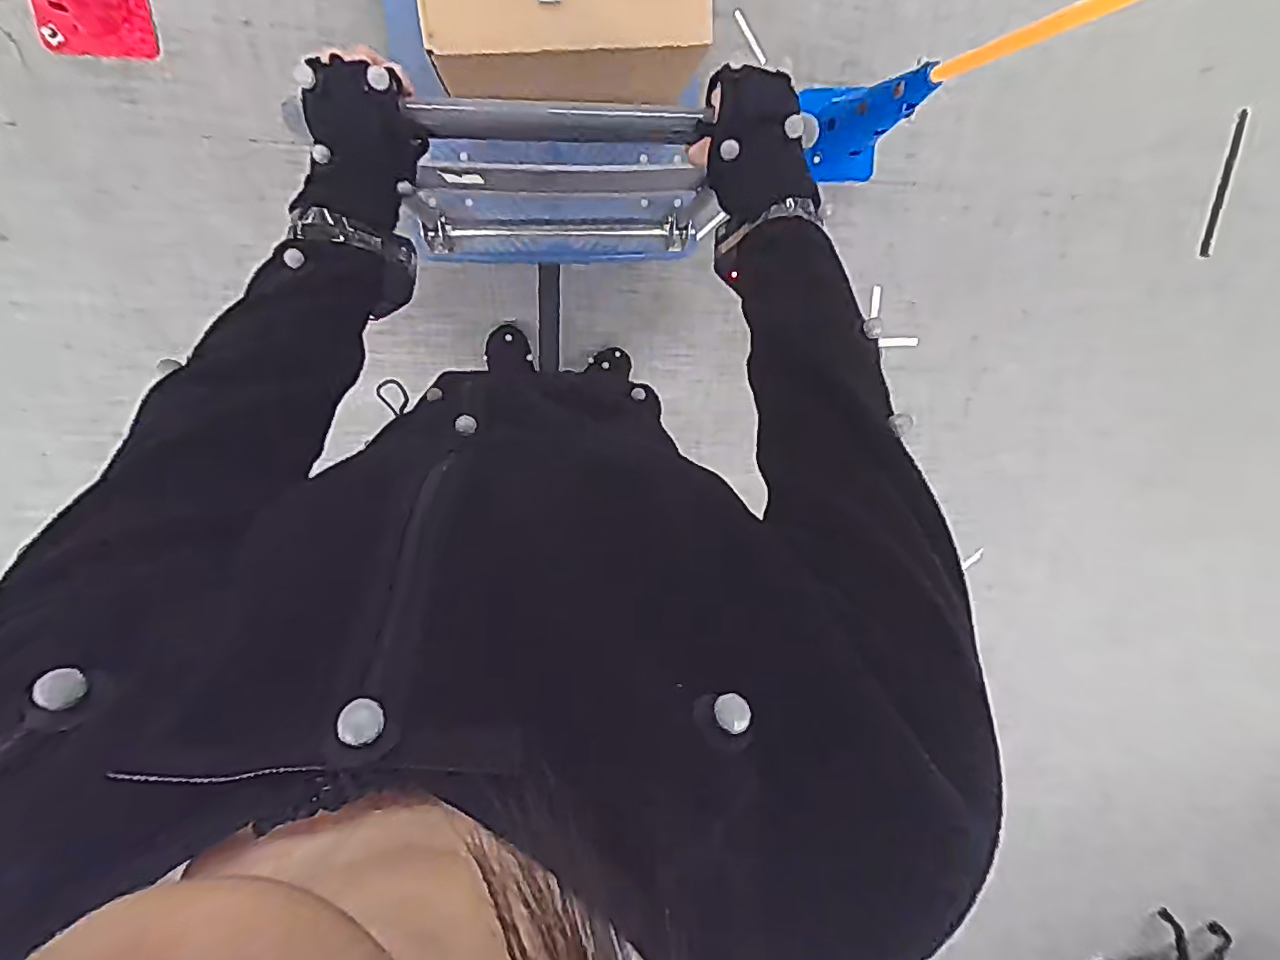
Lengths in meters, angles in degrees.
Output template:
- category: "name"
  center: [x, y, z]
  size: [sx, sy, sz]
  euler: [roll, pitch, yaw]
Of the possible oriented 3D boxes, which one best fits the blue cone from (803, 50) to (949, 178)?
- category: "blue cone"
  center: [0.505, -0.785, 1.138]
  size: [0.193, 0.380, 0.192]
  euler: [-5, 107, -8]
